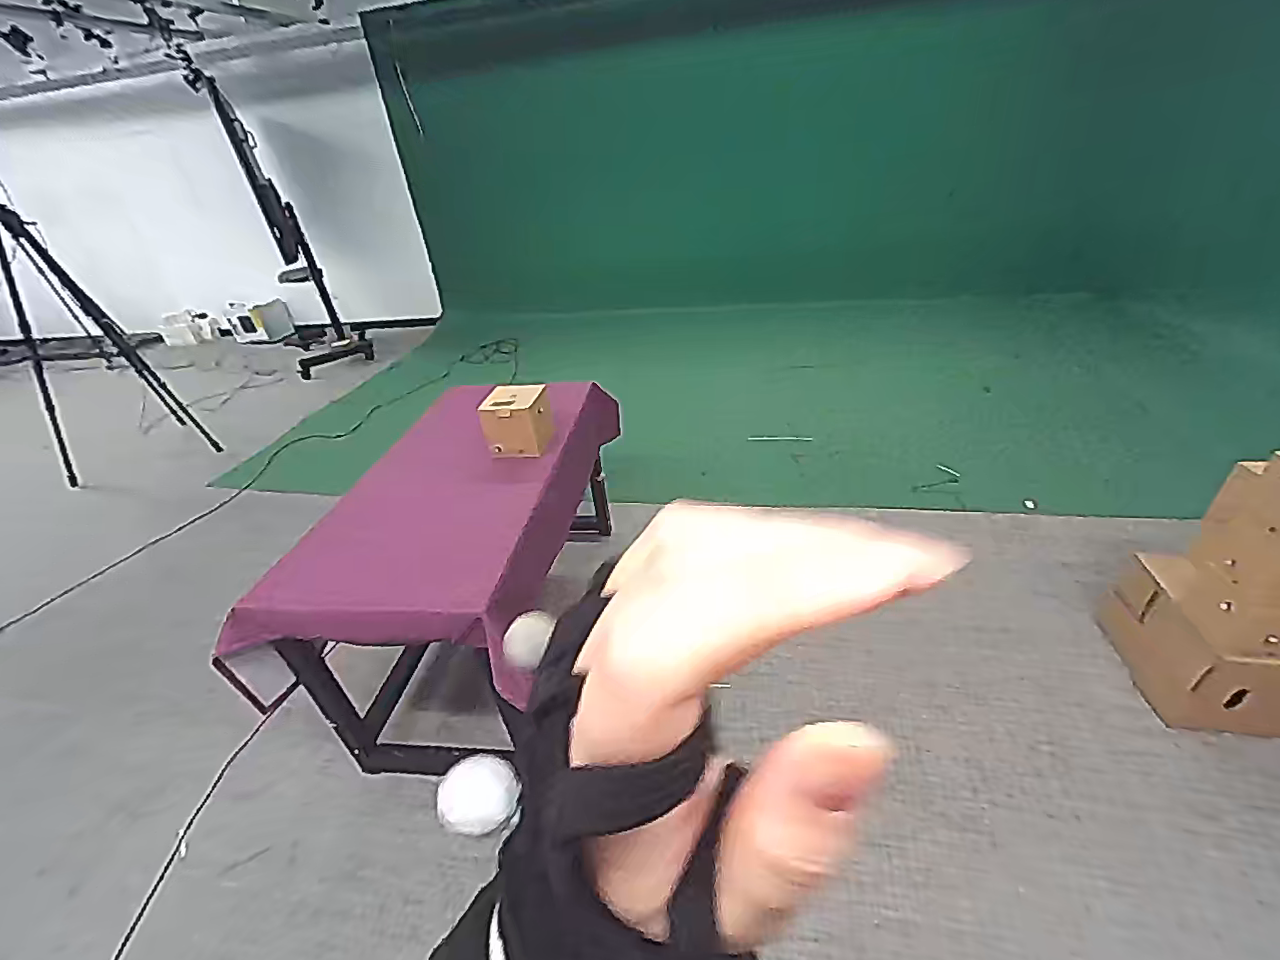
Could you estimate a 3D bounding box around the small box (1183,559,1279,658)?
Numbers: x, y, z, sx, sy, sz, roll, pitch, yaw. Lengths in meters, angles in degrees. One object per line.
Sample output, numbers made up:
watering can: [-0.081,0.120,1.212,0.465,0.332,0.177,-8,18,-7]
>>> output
small box: [1.529,0.321,1.343,0.168,0.176,0.179,3,35,12]

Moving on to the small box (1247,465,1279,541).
small box: [1.500,0.049,1.162,0.179,0.176,0.168,2,35,12]

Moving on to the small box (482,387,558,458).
small box: [-0.371,-0.180,1.709,0.168,0.176,0.179,0,33,11]

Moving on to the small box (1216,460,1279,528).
small box: [1.695,0.065,1.412,0.168,0.176,0.179,2,33,9]
